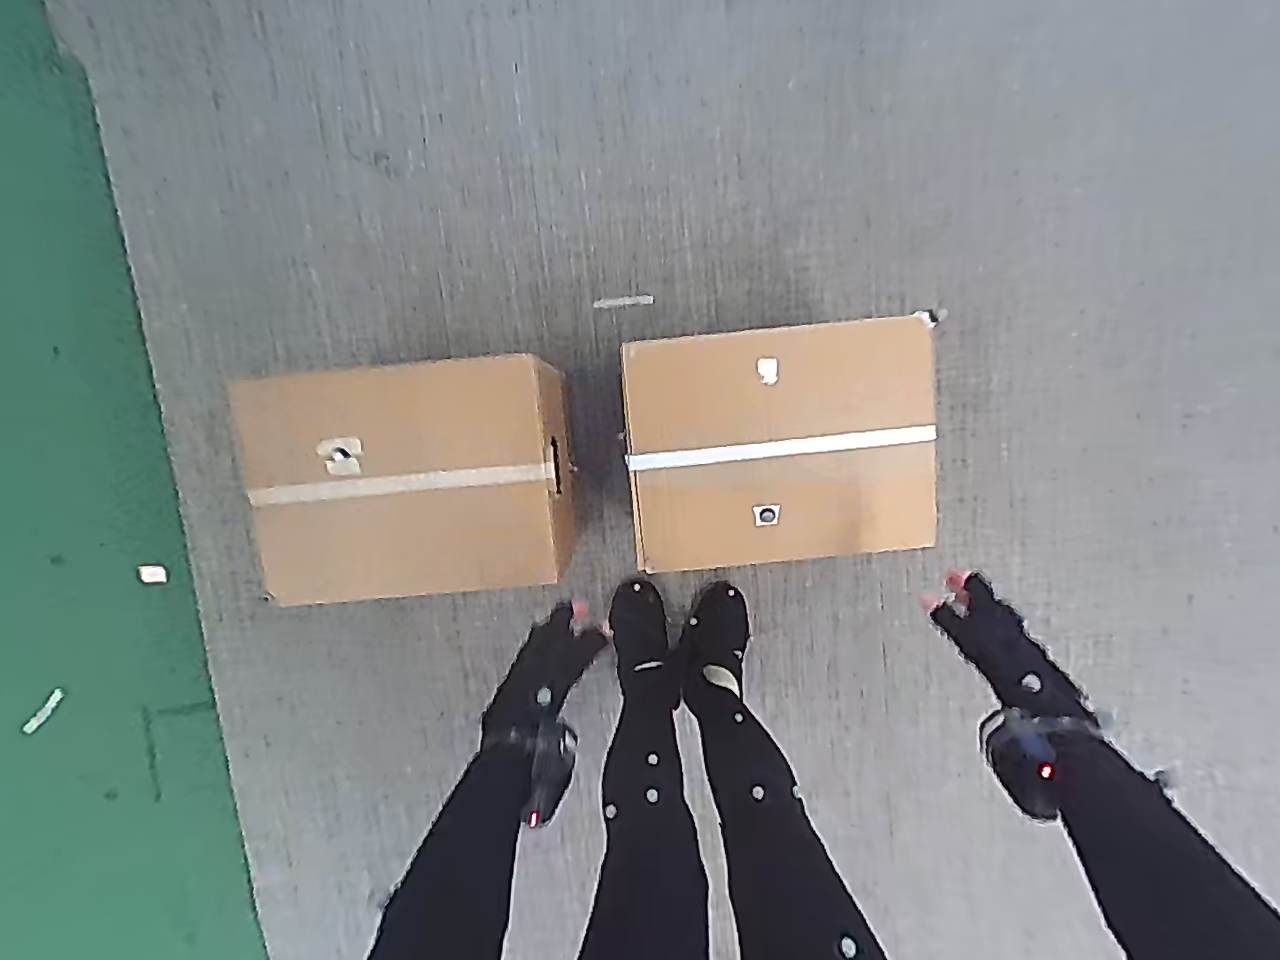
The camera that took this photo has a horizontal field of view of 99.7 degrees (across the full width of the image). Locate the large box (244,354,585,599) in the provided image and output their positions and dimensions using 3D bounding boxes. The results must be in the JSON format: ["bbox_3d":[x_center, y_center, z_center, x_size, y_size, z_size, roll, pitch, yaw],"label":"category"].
[{"bbox_3d":[-0.319,-0.020,0.886,0.408,0.320,0.320,-4,97,1],"label":"large box"}]
